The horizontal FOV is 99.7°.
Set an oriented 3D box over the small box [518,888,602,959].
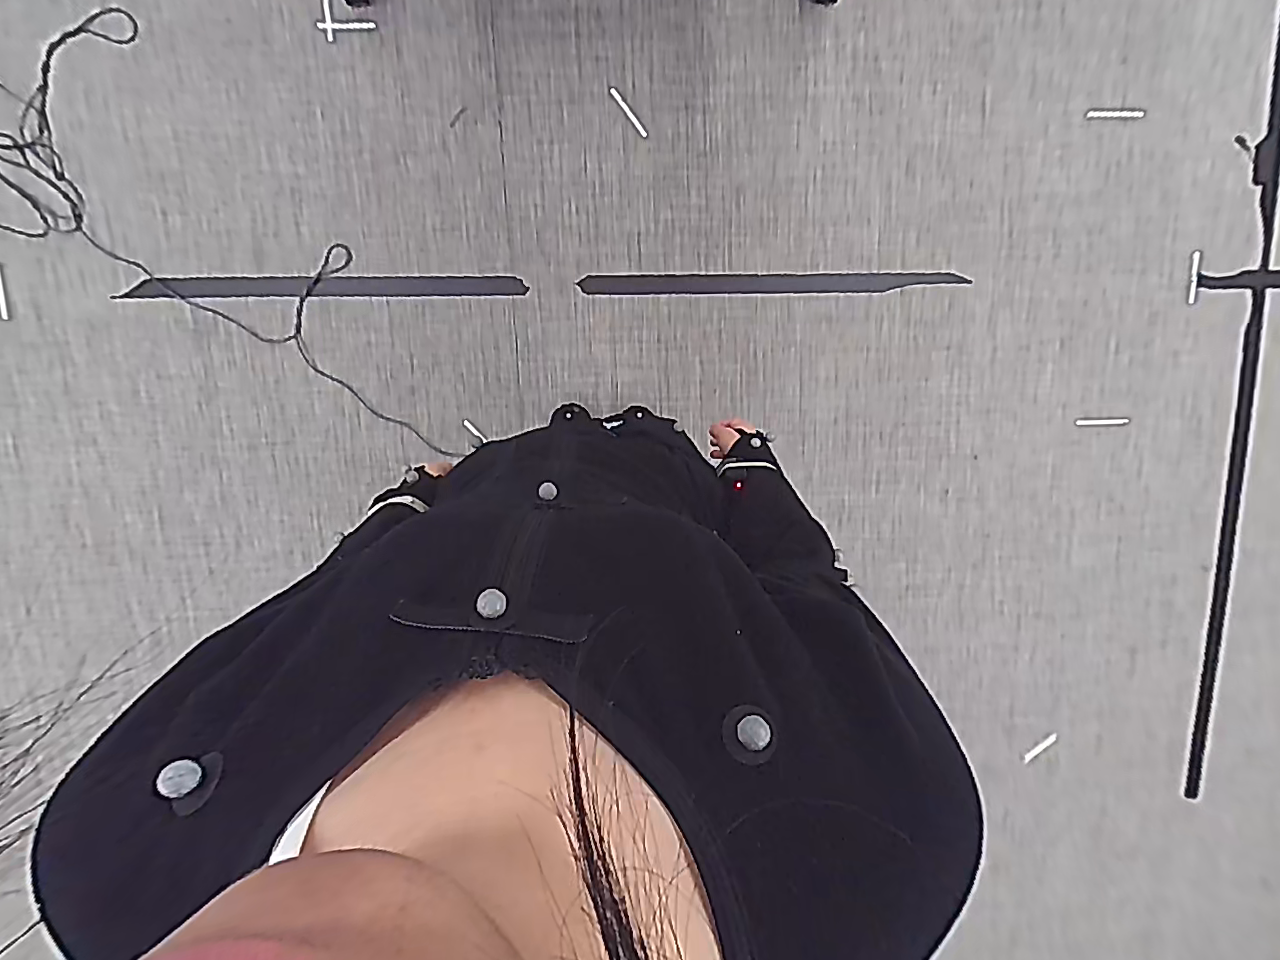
[{"bbox_3d":[-0.180,1.098,1.265,0.179,0.176,0.168,-3,97,-1],"label":"small box"}]
